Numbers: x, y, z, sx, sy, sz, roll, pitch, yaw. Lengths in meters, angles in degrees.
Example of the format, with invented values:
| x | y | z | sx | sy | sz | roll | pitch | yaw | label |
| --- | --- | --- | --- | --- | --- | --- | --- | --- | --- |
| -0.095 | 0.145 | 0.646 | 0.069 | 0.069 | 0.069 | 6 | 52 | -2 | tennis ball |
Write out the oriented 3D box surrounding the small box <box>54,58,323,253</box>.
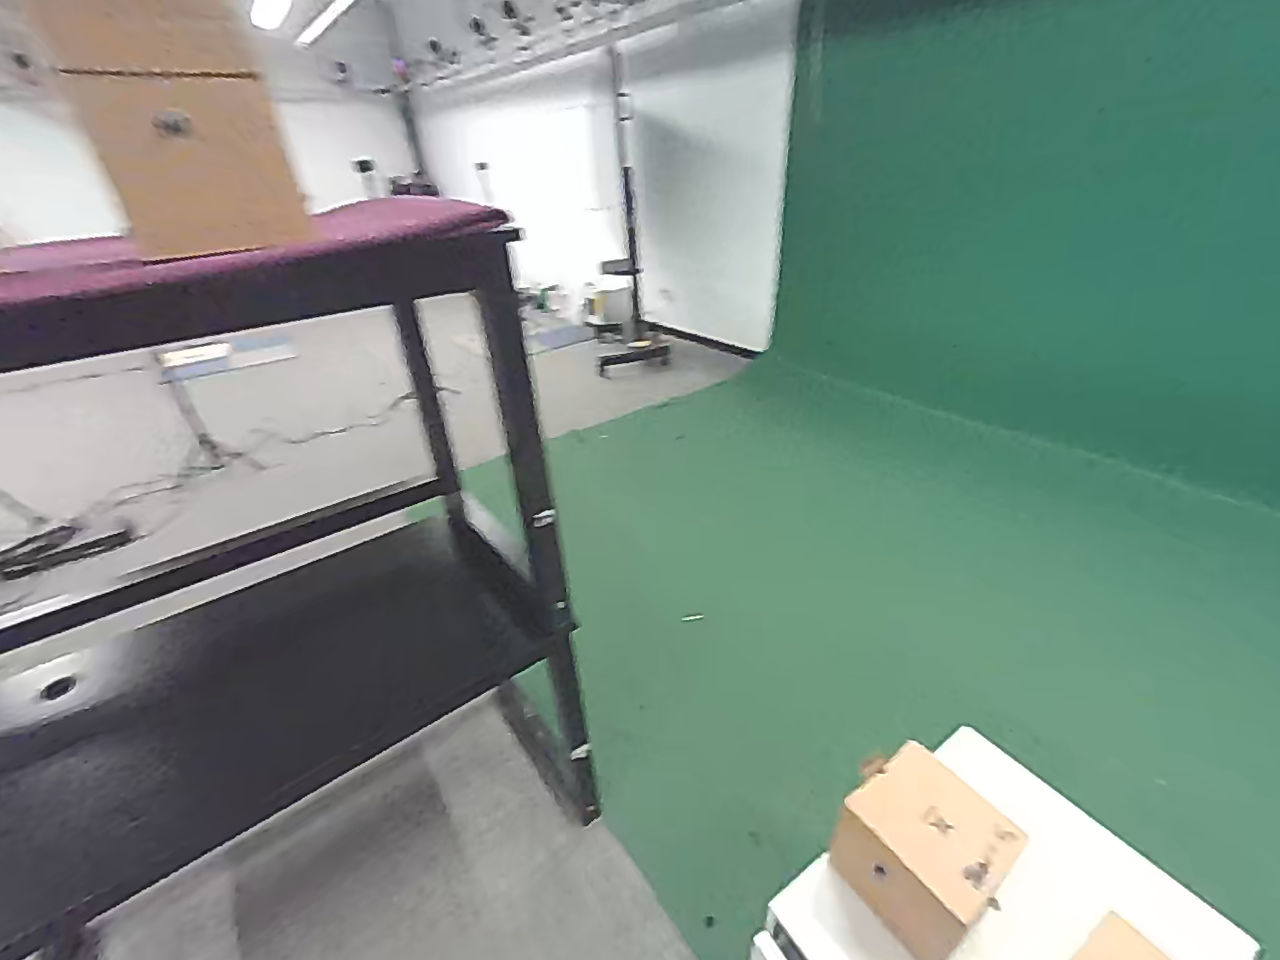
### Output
| x | y | z | sx | sy | sz | roll | pitch | yaw | label |
| --- | --- | --- | --- | --- | --- | --- | --- | --- | --- |
| -0.504 | -0.366 | 0.628 | 0.179 | 0.176 | 0.168 | -24 | 34 | -30 | small box |

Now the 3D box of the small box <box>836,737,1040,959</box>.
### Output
| x | y | z | sx | sy | sz | roll | pitch | yaw | label |
| --- | --- | --- | --- | --- | --- | --- | --- | --- | --- |
| 0.401 | 0.514 | 0.756 | 0.168 | 0.176 | 0.179 | -21 | 35 | -27 | small box |

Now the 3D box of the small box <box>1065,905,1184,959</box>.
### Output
| x | y | z | sx | sy | sz | roll | pitch | yaw | label |
| --- | --- | --- | --- | --- | --- | --- | --- | --- | --- |
| 0.528 | 0.617 | 0.567 | 0.168 | 0.176 | 0.179 | -20 | 34 | -24 | small box |

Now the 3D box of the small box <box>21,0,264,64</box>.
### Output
| x | y | z | sx | sy | sz | roll | pitch | yaw | label |
| --- | --- | --- | --- | --- | --- | --- | --- | --- | --- |
| -0.521 | -0.508 | 0.552 | 0.179 | 0.176 | 0.168 | -23 | 34 | -30 | small box |
